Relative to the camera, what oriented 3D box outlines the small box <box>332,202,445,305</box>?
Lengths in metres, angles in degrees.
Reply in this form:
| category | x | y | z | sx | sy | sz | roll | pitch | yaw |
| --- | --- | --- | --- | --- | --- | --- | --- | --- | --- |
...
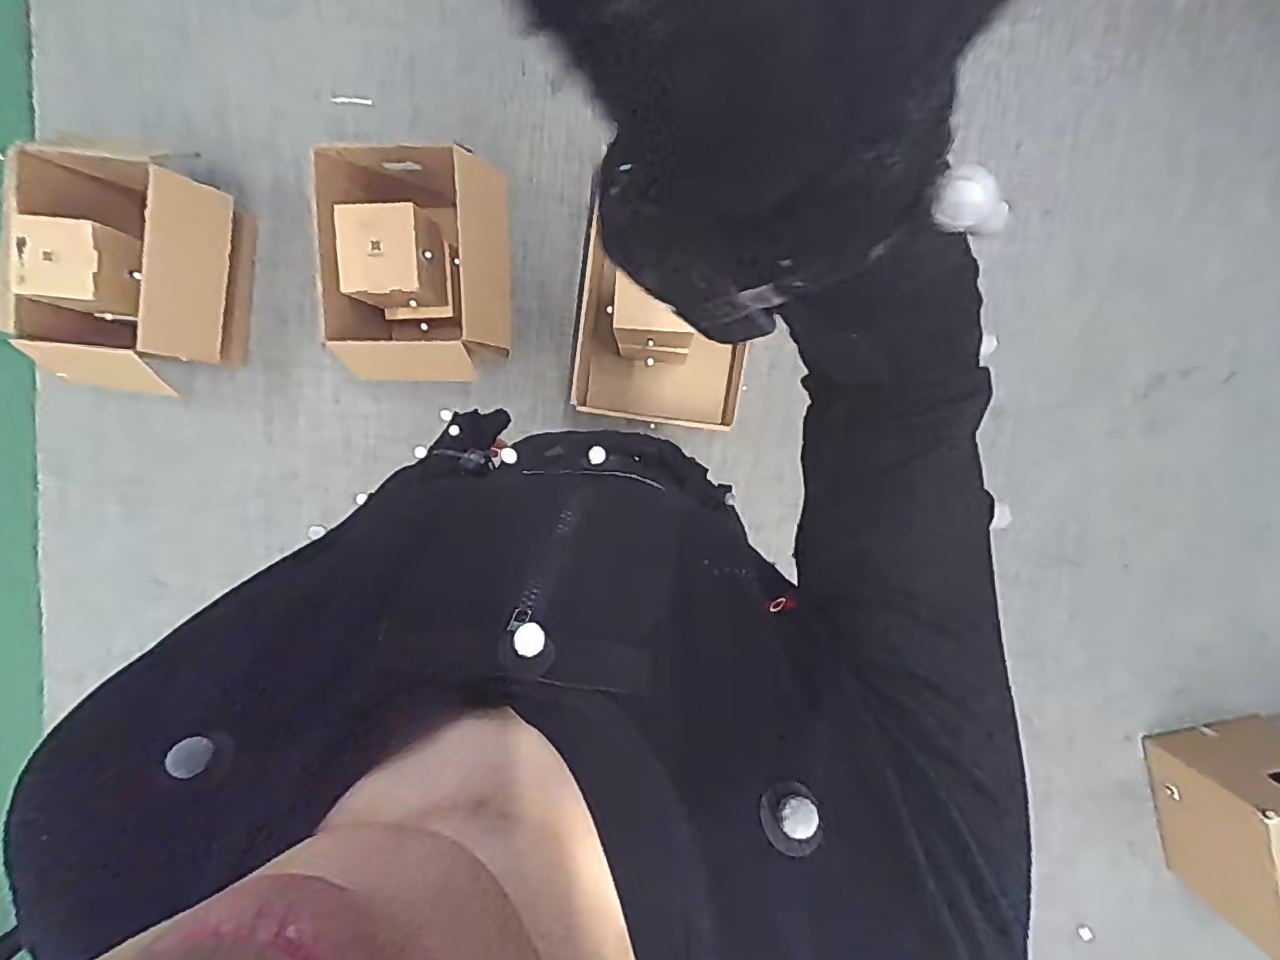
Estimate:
| category | x | y | z | sx | sy | sz | roll | pitch | yaw |
| --- | --- | --- | --- | --- | --- | --- | --- | --- | --- |
| small box | -0.538 | -0.482 | 1.179 | 0.168 | 0.176 | 0.179 | -1 | 97 | 1 |

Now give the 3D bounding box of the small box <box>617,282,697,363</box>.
| category | x | y | z | sx | sy | sz | roll | pitch | yaw |
| --- | --- | --- | --- | --- | --- | --- | --- | --- | --- |
| small box | 0.038 | -0.389 | 1.302 | 0.168 | 0.176 | 0.179 | 6 | 94 | 1 |

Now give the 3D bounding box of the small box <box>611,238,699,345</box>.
| category | x | y | z | sx | sy | sz | roll | pitch | yaw |
| --- | --- | --- | --- | --- | --- | --- | --- | --- | --- |
| small box | 0.031 | -0.387 | 1.138 | 0.168 | 0.176 | 0.179 | 4 | 93 | 0 |
